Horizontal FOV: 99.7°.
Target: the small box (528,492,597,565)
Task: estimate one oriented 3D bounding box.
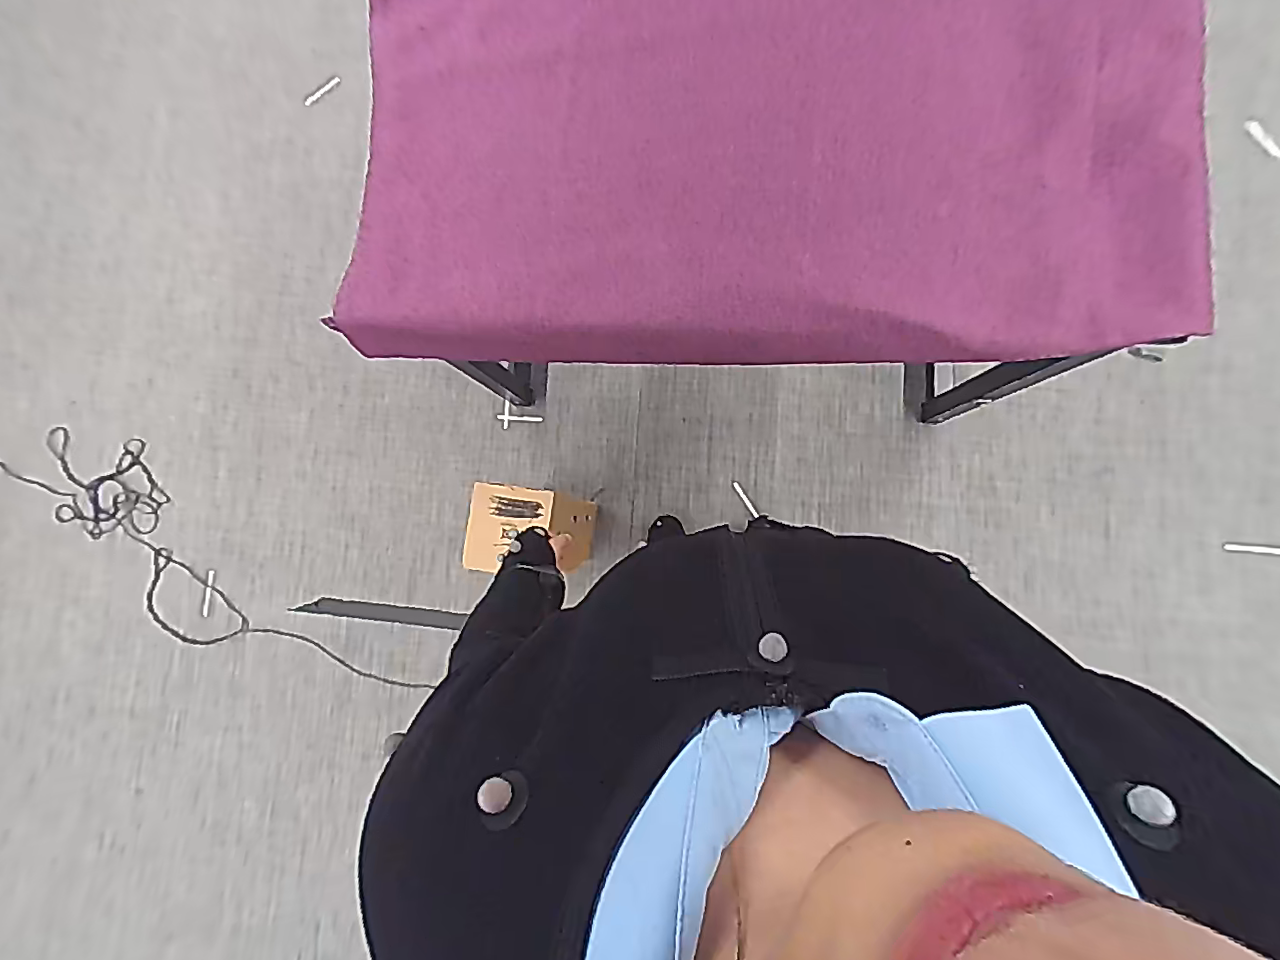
[{"bbox_3d":[-0.219,0.135,1.462,0.168,0.176,0.179,10,87,6],"label":"small box"}]

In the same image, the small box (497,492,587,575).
[{"bbox_3d":[-0.227,0.126,1.298,0.168,0.176,0.179,5,86,6],"label":"small box"}]
